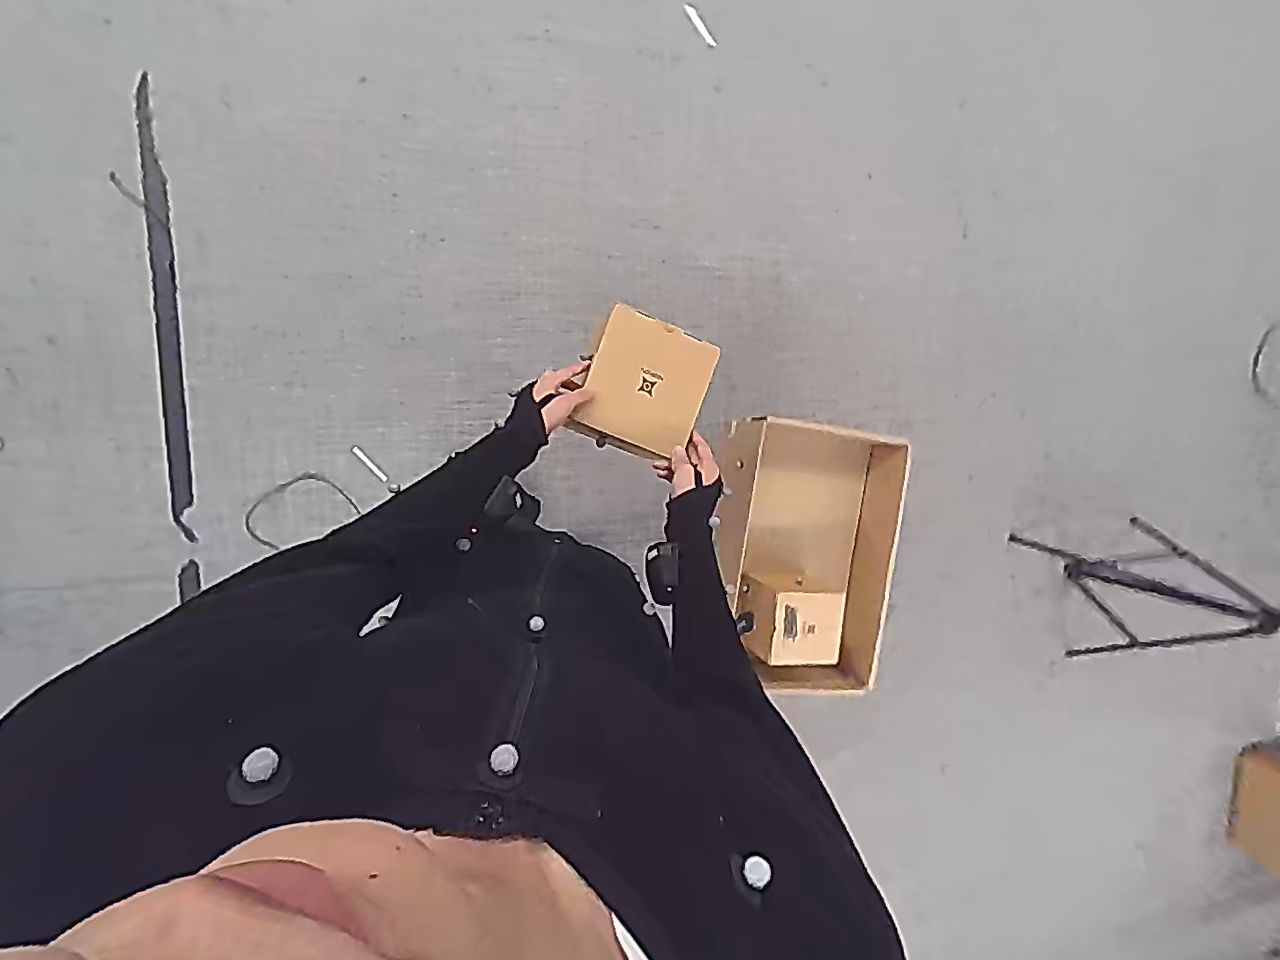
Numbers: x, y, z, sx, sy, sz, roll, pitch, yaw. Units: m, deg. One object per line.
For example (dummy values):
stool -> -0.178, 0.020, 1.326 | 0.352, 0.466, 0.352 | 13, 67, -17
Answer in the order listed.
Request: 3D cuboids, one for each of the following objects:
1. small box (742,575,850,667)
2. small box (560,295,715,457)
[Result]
small box -> 0.356, 0.324, 1.261 | 0.179, 0.176, 0.168 | 5, 94, -15
small box -> -0.014, -0.140, 0.806 | 0.168, 0.176, 0.179 | 20, 86, -14
